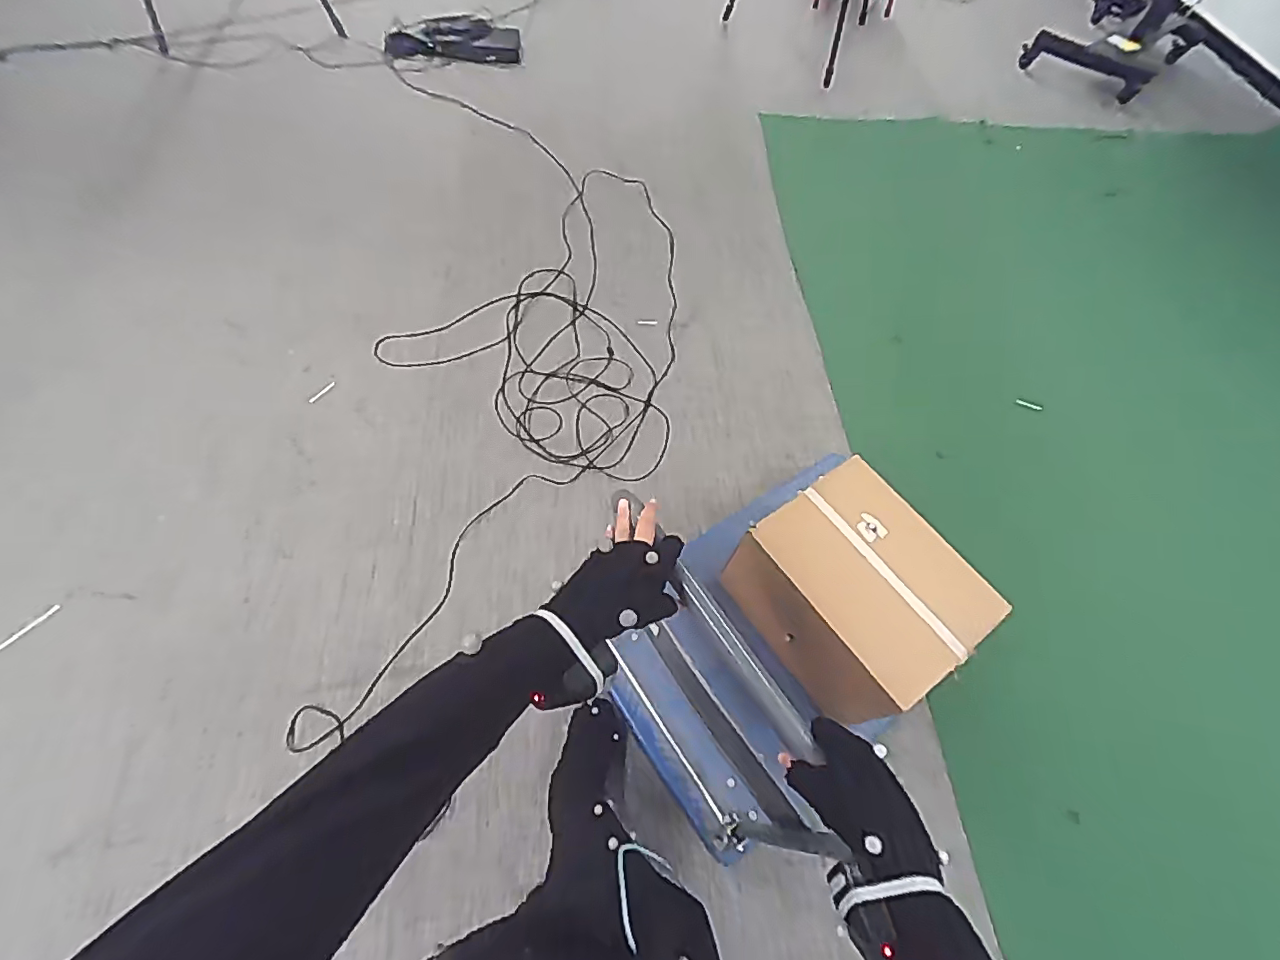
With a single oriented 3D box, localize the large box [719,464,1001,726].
[{"bbox_3d":[0.434,0.252,1.164,0.320,0.320,0.408,-30,67,-20],"label":"large box"}]
